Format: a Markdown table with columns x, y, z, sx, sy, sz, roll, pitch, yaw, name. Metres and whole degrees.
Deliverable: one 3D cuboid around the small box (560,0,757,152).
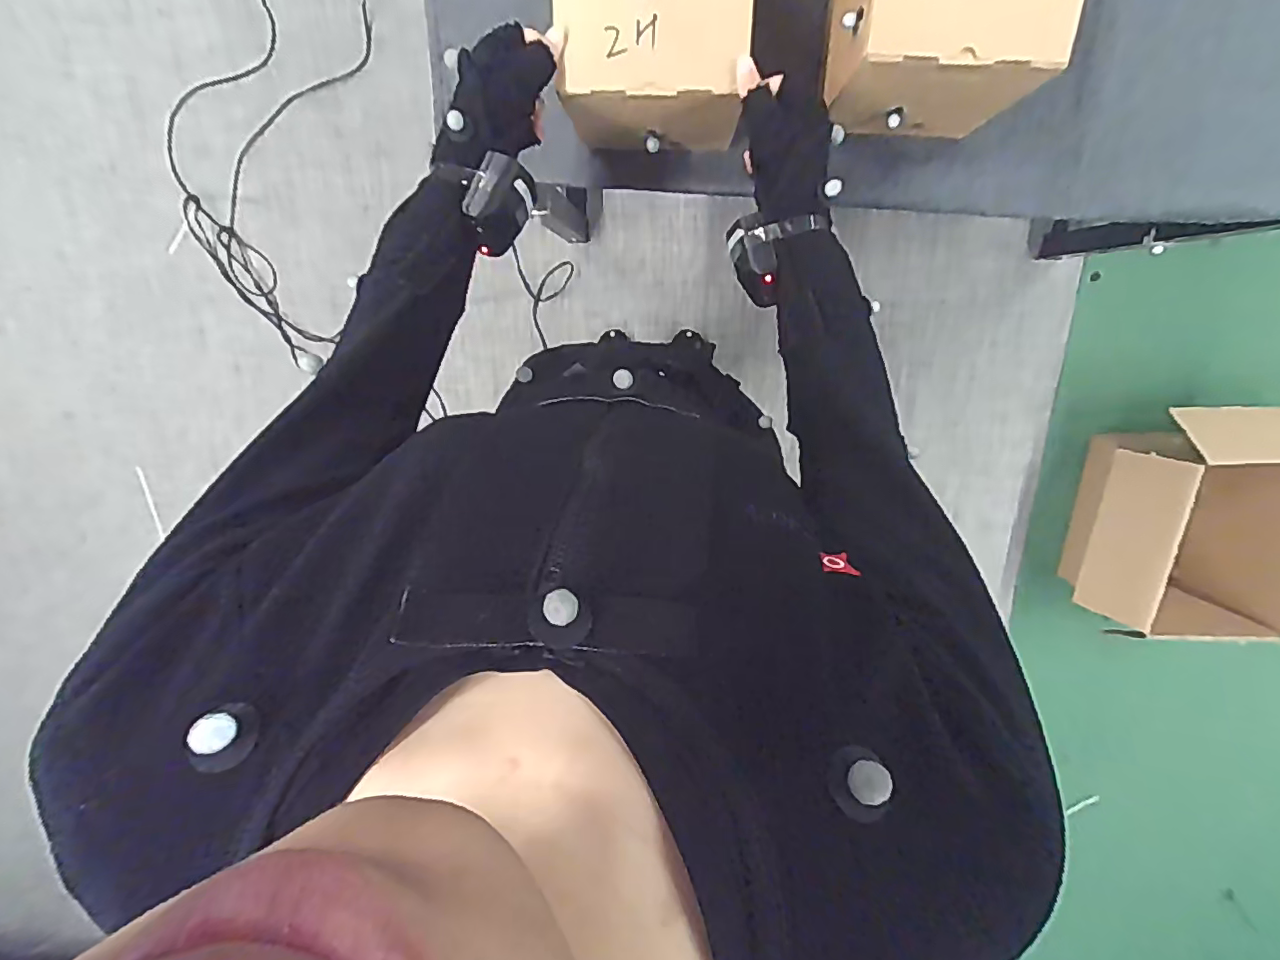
| x | y | z | sx | sy | sz | roll | pitch | yaw | name |
| --- | --- | --- | --- | --- | --- | --- | --- | --- | --- |
| 0.018 | -0.437 | 0.516 | 0.168 | 0.176 | 0.179 | 2 | 108 | 3 | small box |
